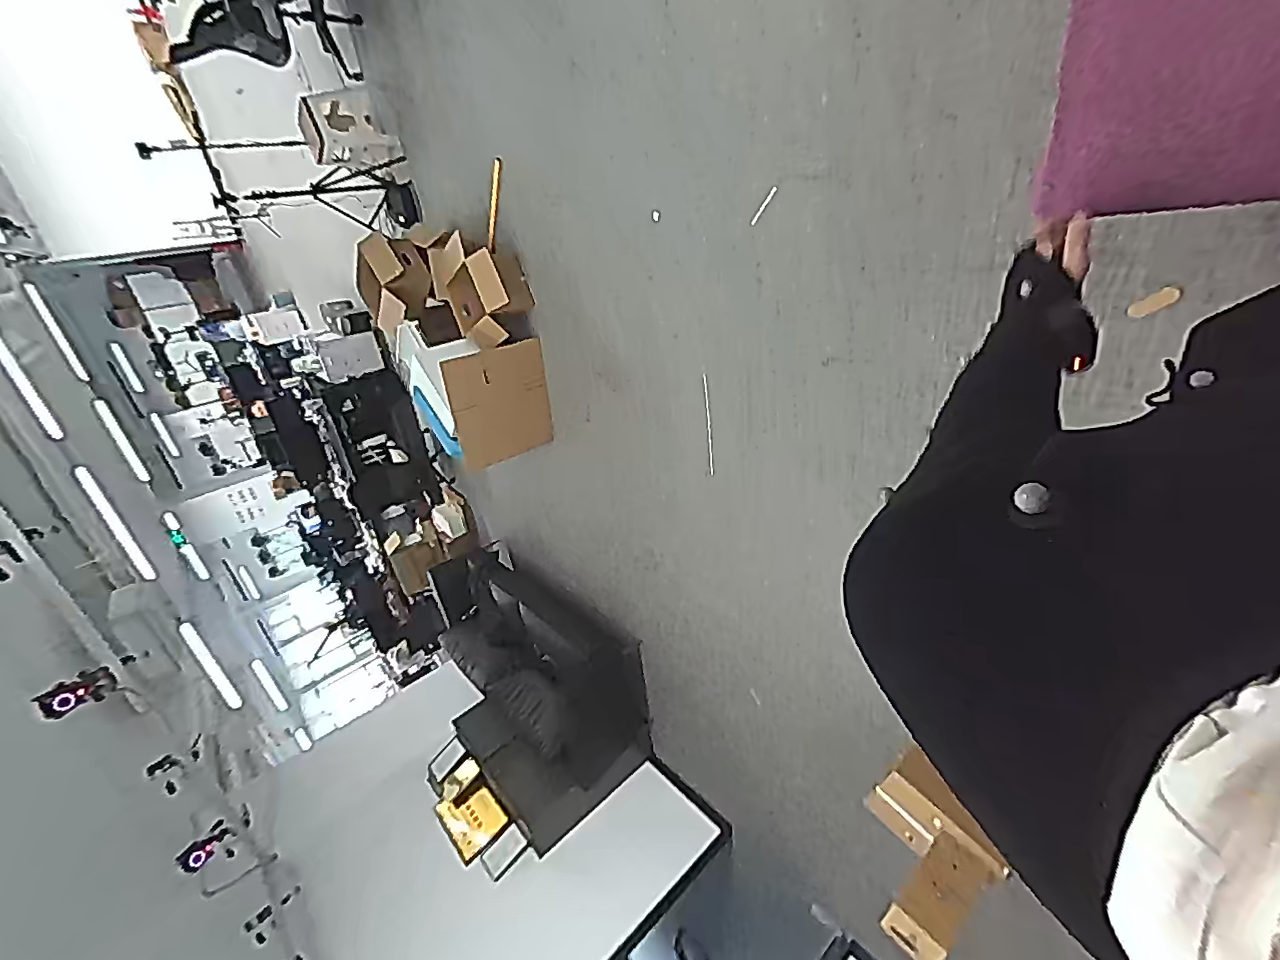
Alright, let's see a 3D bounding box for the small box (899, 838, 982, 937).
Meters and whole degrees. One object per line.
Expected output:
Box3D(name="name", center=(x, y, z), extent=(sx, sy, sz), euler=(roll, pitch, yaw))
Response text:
Box3D(name="small box", center=(0.995, 1.335, 1.783), extent=(0.168, 0.176, 0.179), euler=(33, 134, 38))
